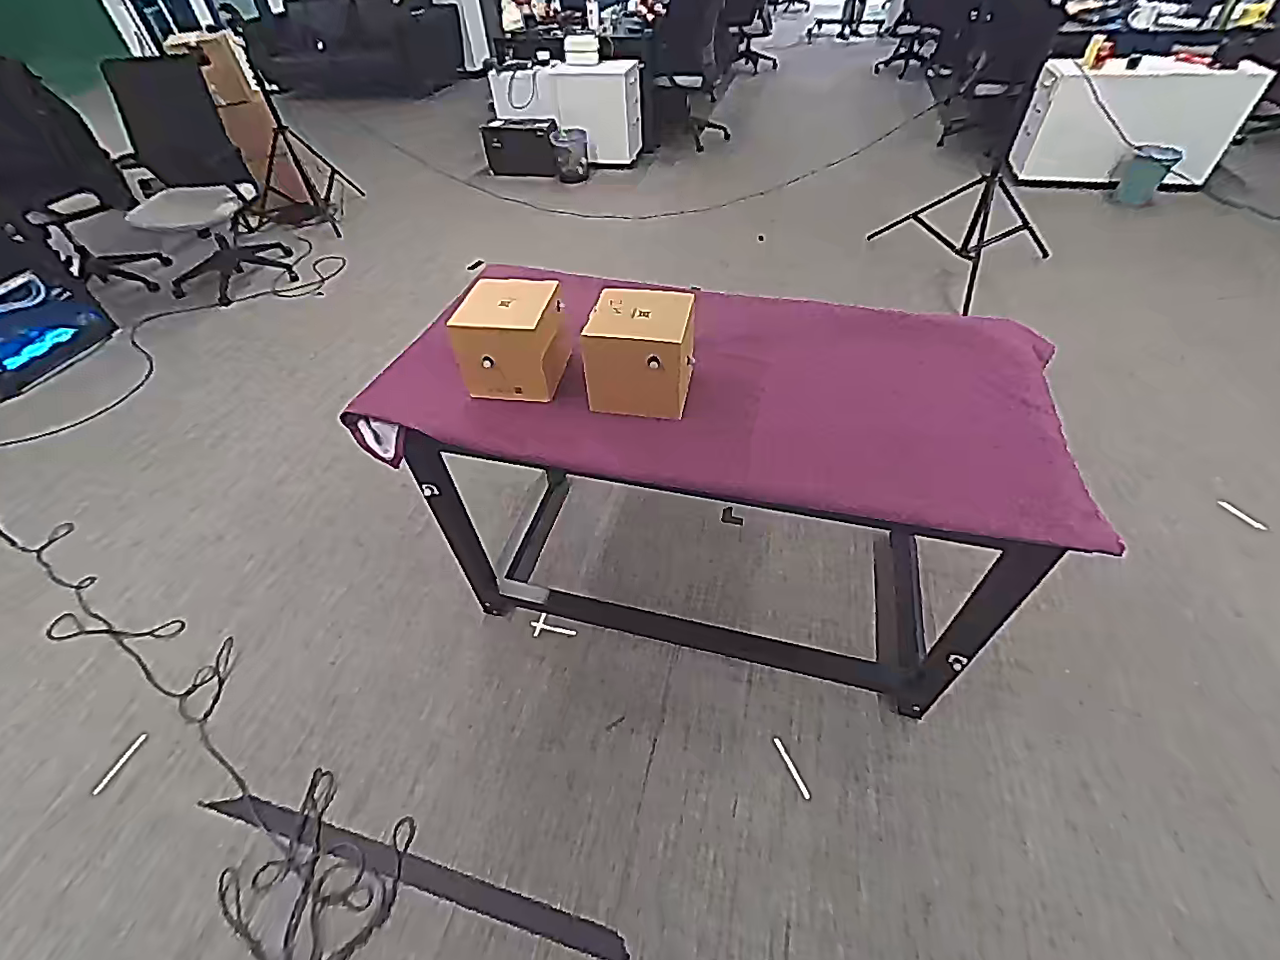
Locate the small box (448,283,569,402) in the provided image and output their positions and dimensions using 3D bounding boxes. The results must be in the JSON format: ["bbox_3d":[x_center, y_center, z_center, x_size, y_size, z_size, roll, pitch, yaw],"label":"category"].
[{"bbox_3d":[-0.245,-0.269,1.064,0.168,0.176,0.179,4,47,8],"label":"small box"}]

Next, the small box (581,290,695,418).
[{"bbox_3d":[0.002,-0.233,1.009,0.179,0.176,0.168,7,47,9],"label":"small box"}]
